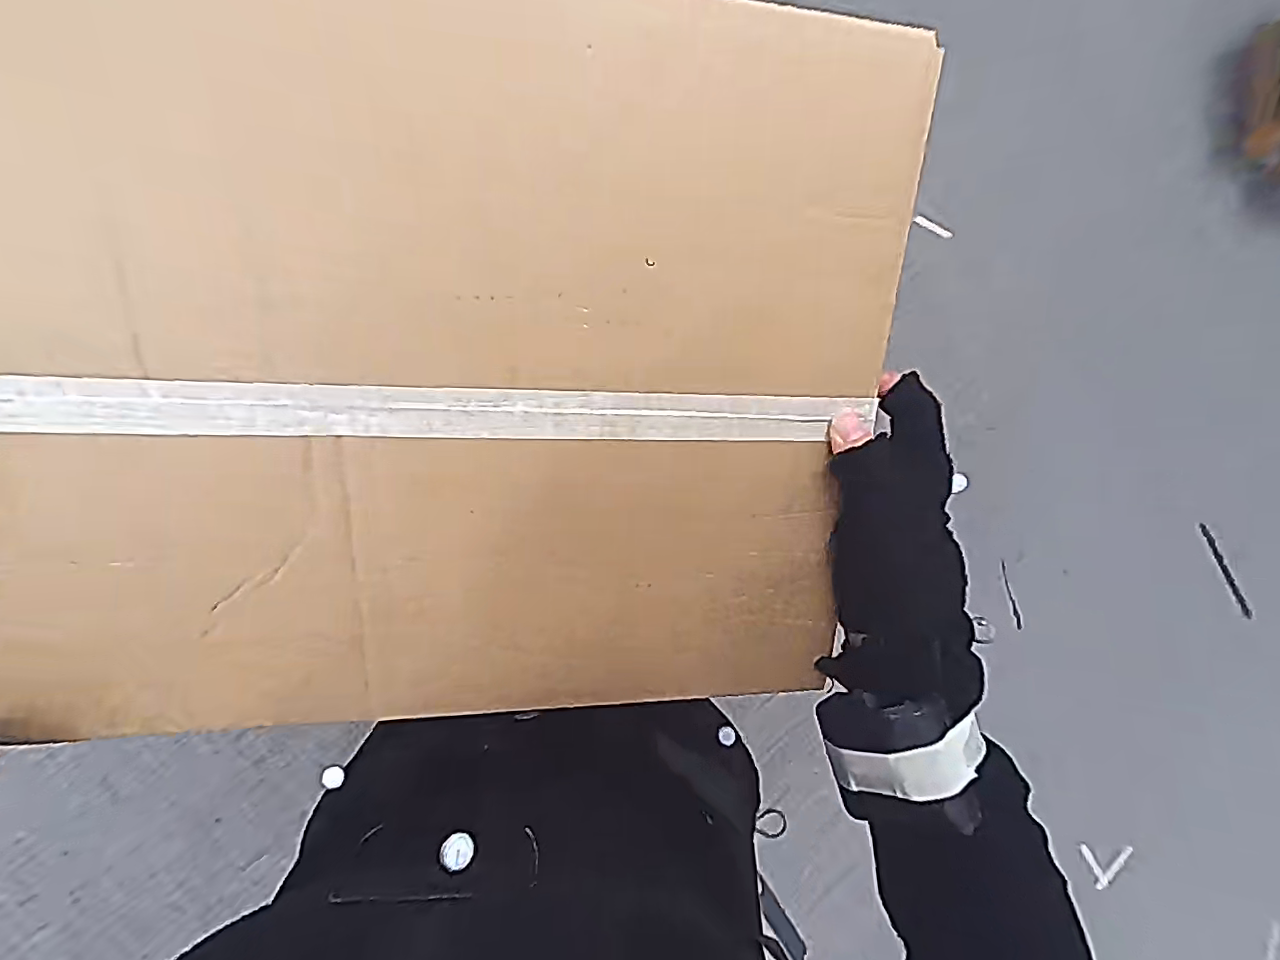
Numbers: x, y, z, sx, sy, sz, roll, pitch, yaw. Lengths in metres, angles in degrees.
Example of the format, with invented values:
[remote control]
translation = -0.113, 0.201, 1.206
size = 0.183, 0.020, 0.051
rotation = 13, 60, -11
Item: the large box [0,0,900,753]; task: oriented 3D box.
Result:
[large box]
translation = -0.112, -0.067, 0.379
size = 0.408, 0.320, 0.320
rotation = -1, 107, -10
